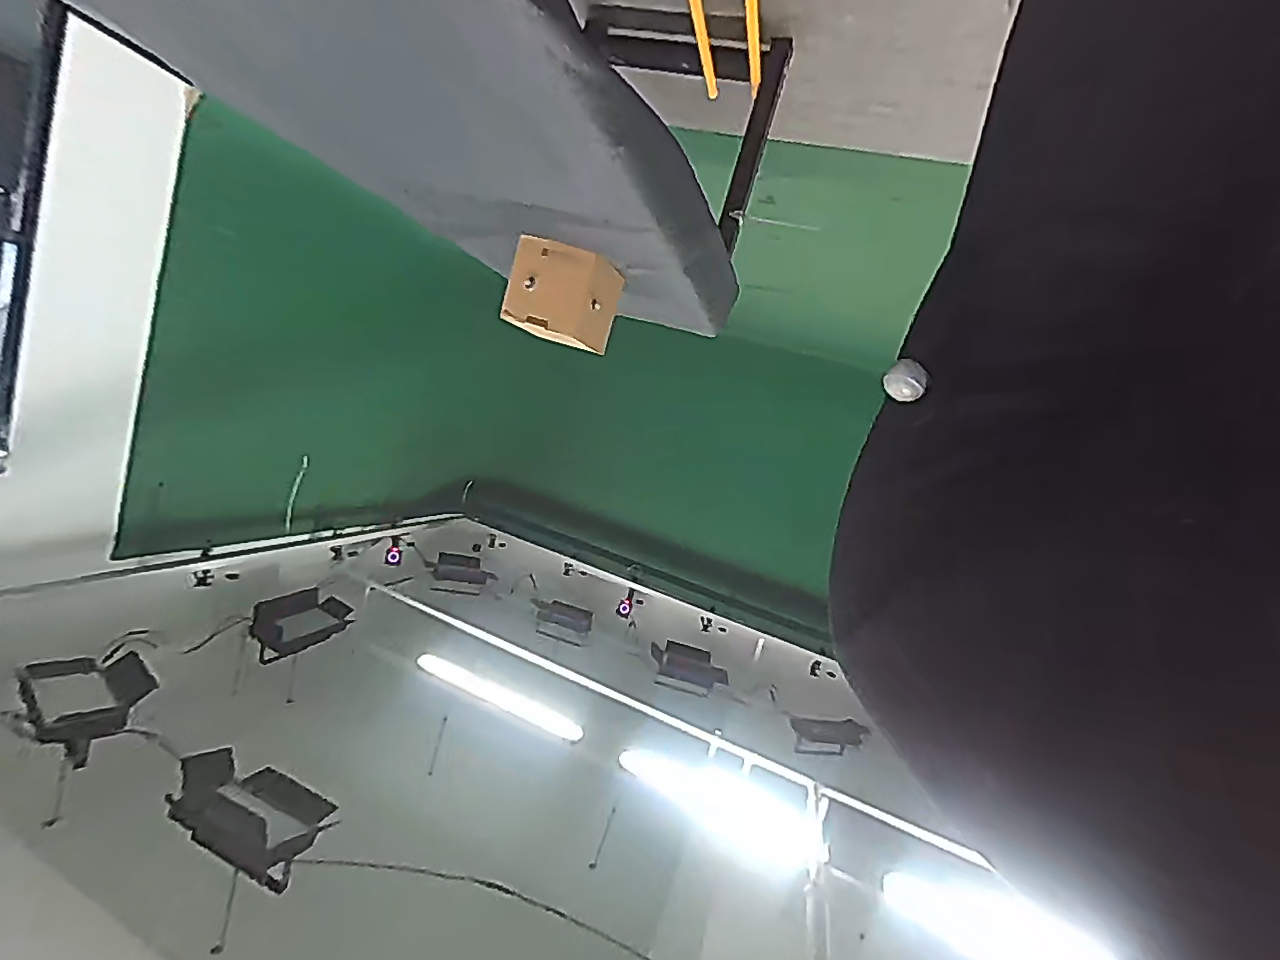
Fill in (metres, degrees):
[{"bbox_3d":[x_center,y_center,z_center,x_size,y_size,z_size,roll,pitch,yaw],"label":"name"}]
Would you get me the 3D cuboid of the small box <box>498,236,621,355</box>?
[{"bbox_3d":[-0.156,-0.369,1.092,0.168,0.176,0.179,20,-173,14],"label":"small box"}]
